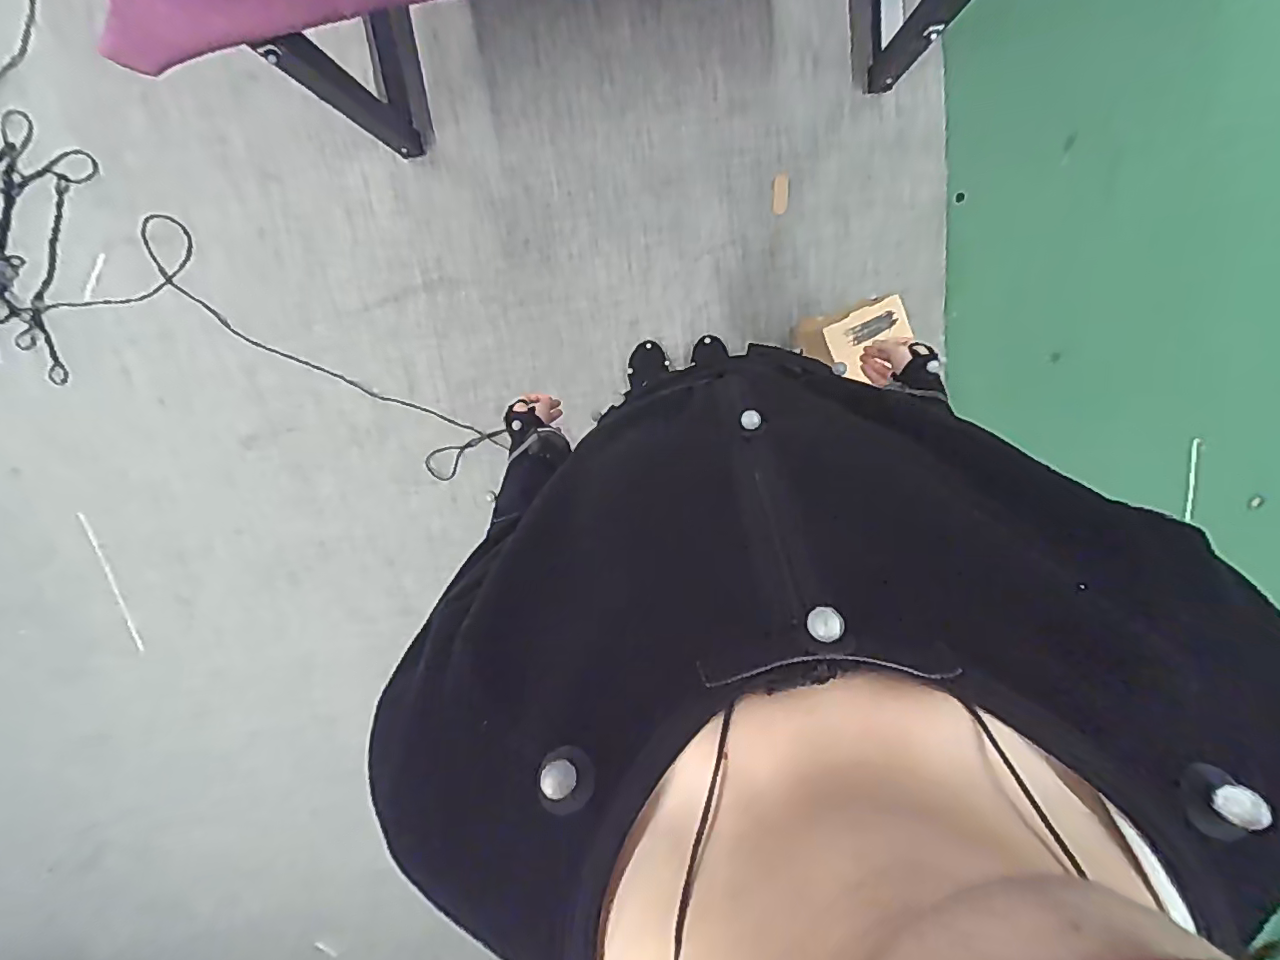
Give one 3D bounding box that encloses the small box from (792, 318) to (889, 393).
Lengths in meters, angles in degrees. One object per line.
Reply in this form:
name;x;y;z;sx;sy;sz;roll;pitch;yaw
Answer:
small box;0.490;-0.311;1.350;0.179;0.176;0.168;3;104;1
